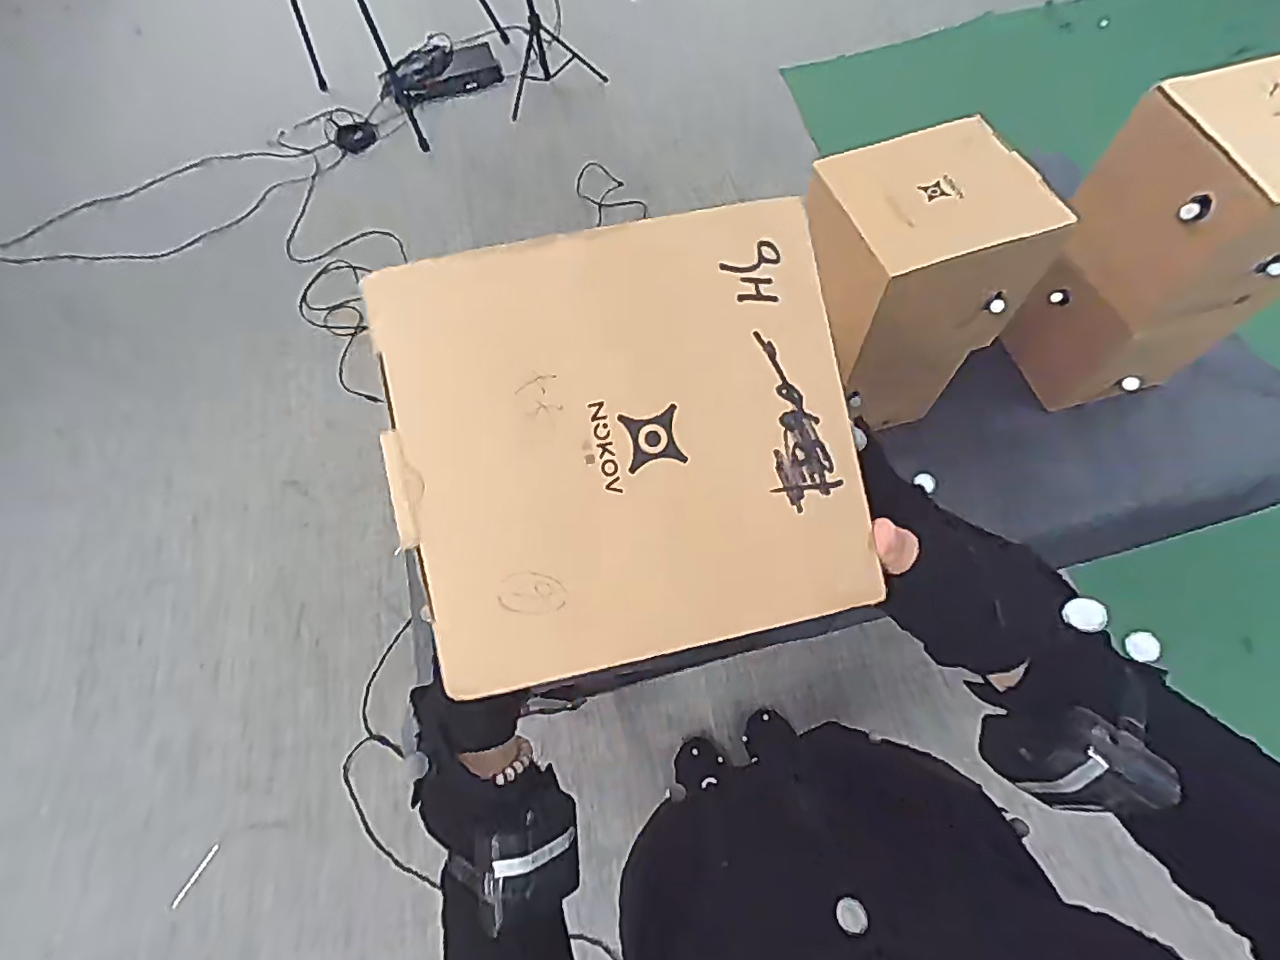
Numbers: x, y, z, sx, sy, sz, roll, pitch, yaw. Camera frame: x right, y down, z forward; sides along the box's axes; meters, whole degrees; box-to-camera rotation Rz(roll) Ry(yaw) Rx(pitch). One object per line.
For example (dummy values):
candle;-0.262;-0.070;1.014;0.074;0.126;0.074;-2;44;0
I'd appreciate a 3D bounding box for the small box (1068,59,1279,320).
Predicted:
small box;0.601;-0.288;0.560;0.168;0.176;0.179;-12;65;1

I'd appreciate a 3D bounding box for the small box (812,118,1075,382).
small box;0.285;-0.232;0.573;0.179;0.176;0.168;-17;64;-1

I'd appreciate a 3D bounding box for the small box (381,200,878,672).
small box;-0.007;-0.016;0.292;0.179;0.176;0.168;-10;89;-3
